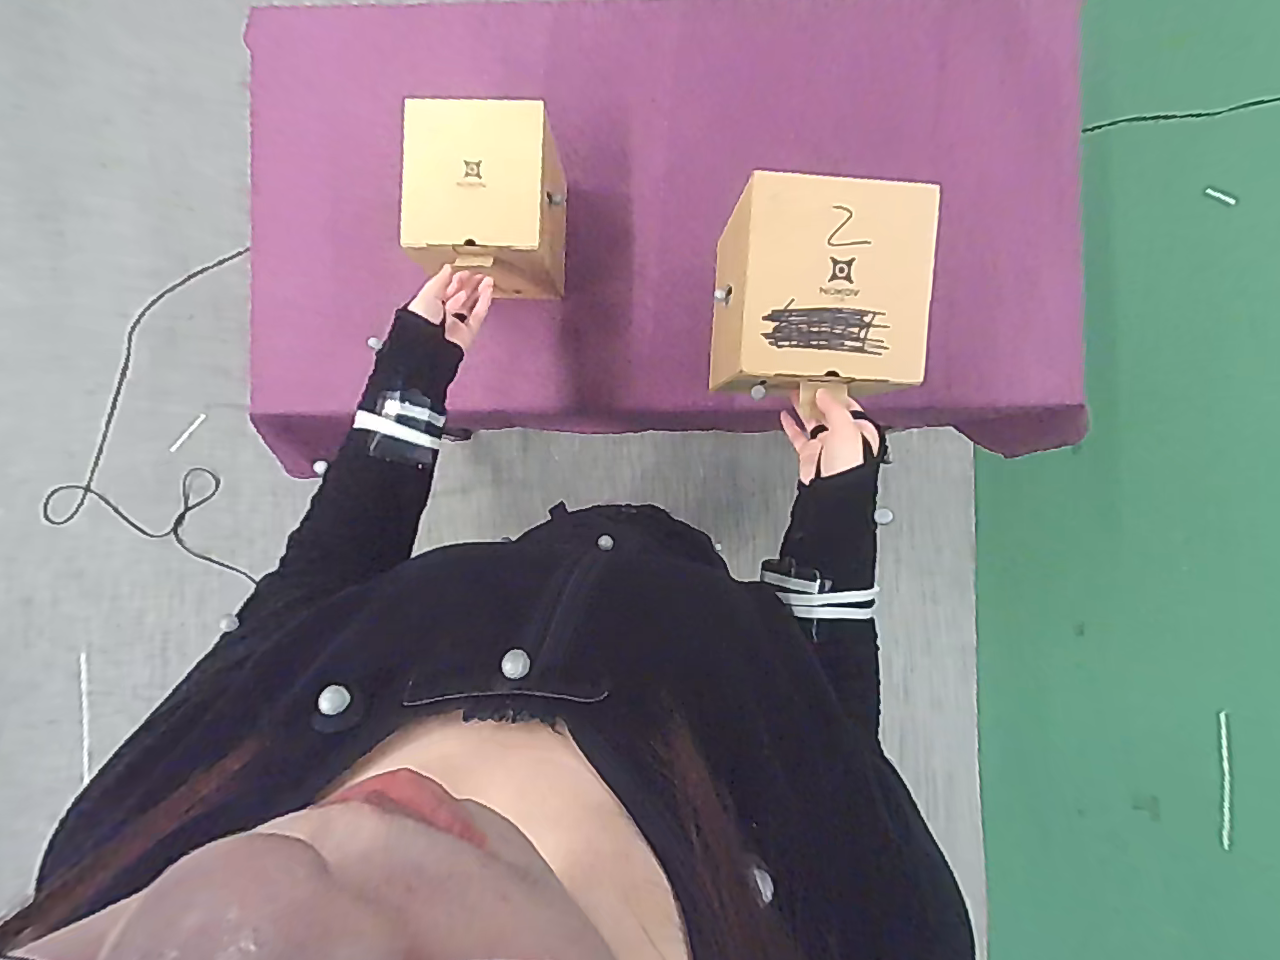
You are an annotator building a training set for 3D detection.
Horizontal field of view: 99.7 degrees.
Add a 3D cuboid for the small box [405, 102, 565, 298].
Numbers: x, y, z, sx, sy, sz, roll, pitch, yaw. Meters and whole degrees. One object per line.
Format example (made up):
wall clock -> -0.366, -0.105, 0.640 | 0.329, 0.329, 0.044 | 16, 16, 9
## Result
small box -> -0.195, -0.363, 0.725 | 0.168, 0.176, 0.179 | 2, 90, 1
